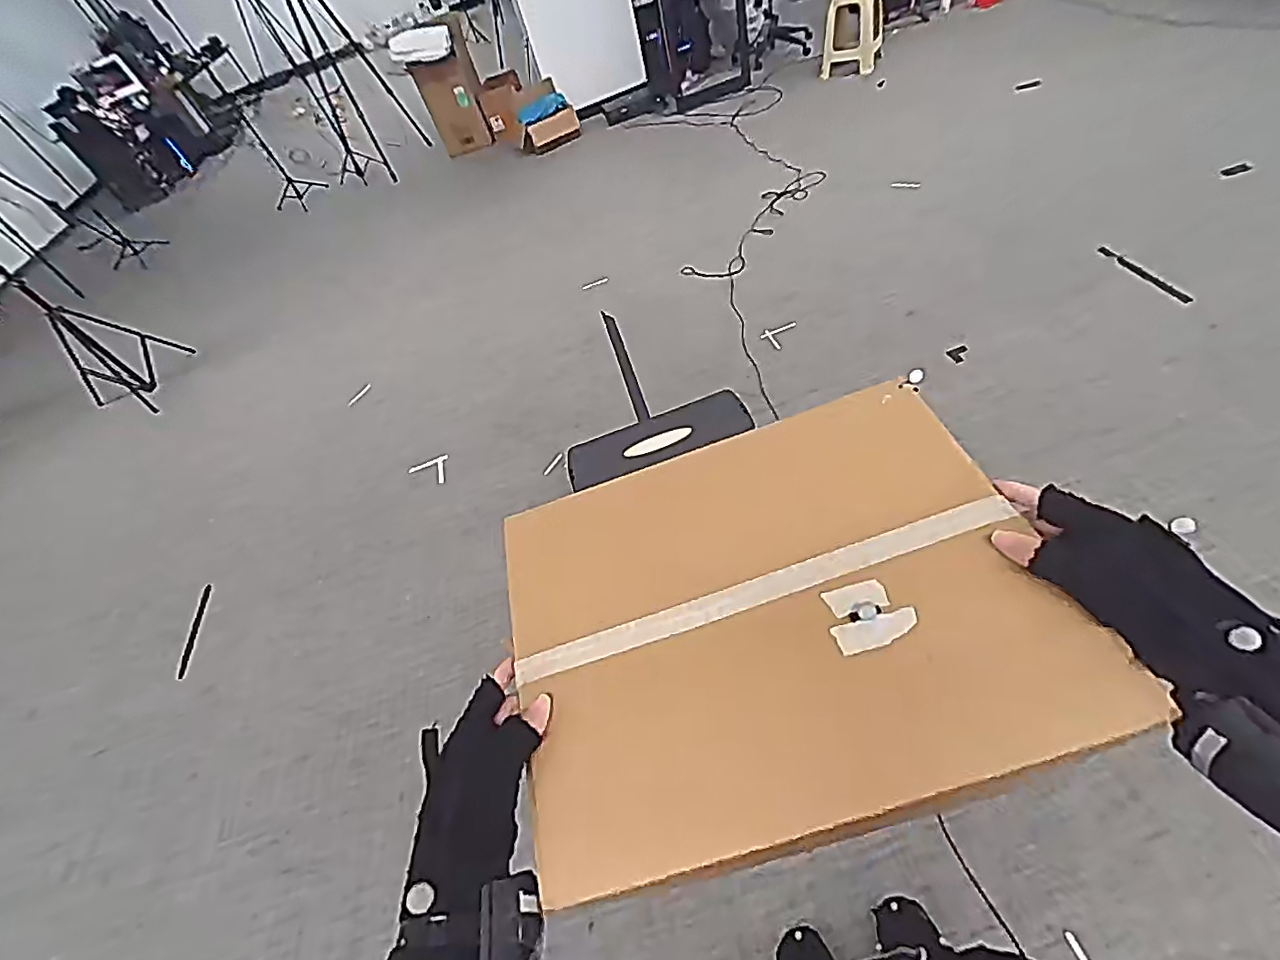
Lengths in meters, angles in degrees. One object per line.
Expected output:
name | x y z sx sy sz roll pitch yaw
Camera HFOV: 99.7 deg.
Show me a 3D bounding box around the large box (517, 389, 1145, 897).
large box | 0.133 0.177 0.554 0.408 0.320 0.320 -20 53 3
